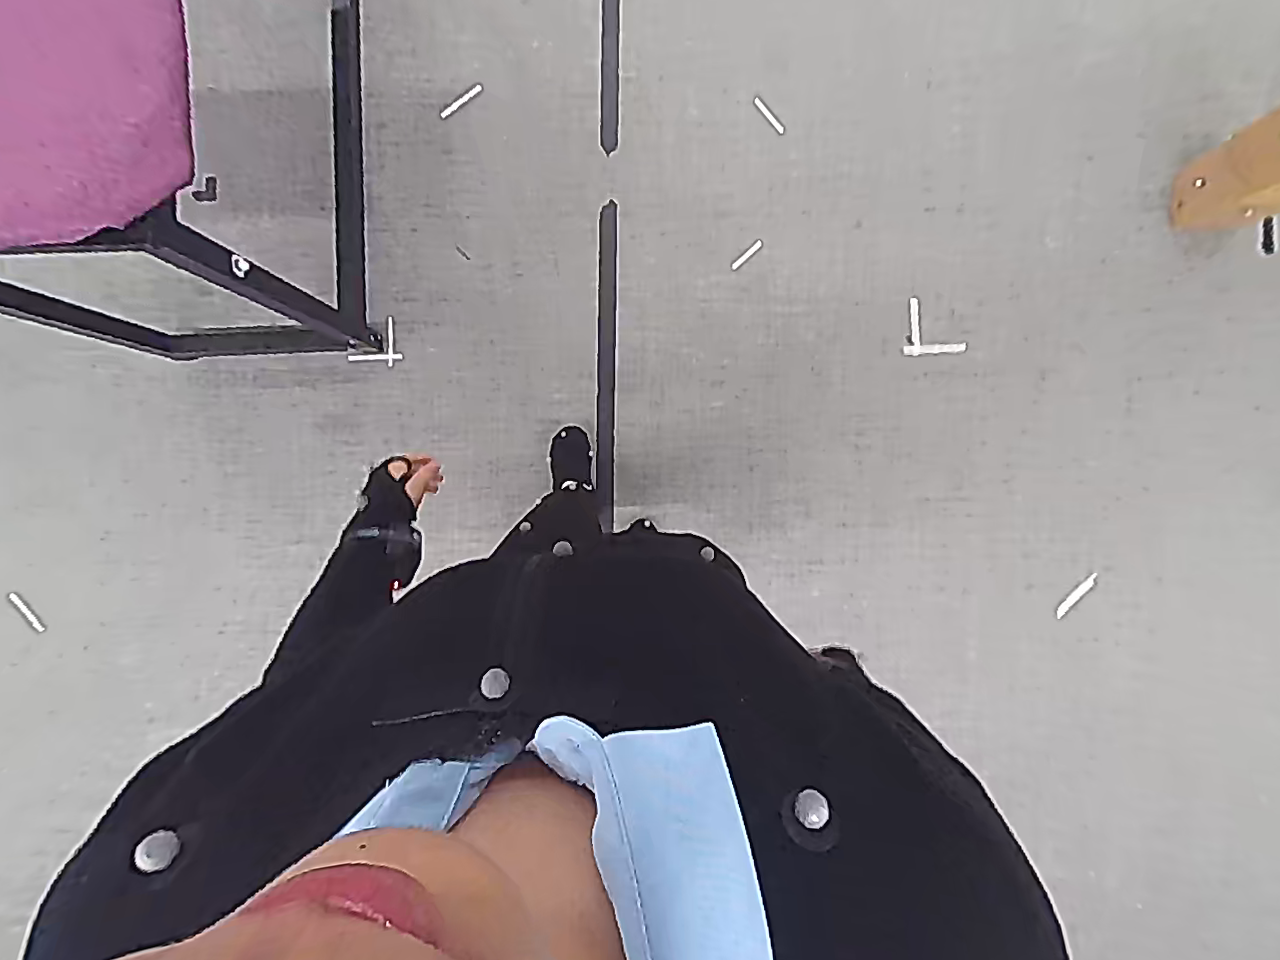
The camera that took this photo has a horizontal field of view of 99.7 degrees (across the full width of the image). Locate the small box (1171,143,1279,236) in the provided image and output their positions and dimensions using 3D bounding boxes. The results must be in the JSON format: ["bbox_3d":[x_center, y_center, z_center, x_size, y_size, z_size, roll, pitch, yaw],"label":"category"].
[{"bbox_3d":[1.570,-0.765,1.432,0.179,0.176,0.168,2,90,0],"label":"small box"}]

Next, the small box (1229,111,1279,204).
[{"bbox_3d":[1.560,-0.773,1.270,0.168,0.176,0.179,-6,88,0],"label":"small box"}]
